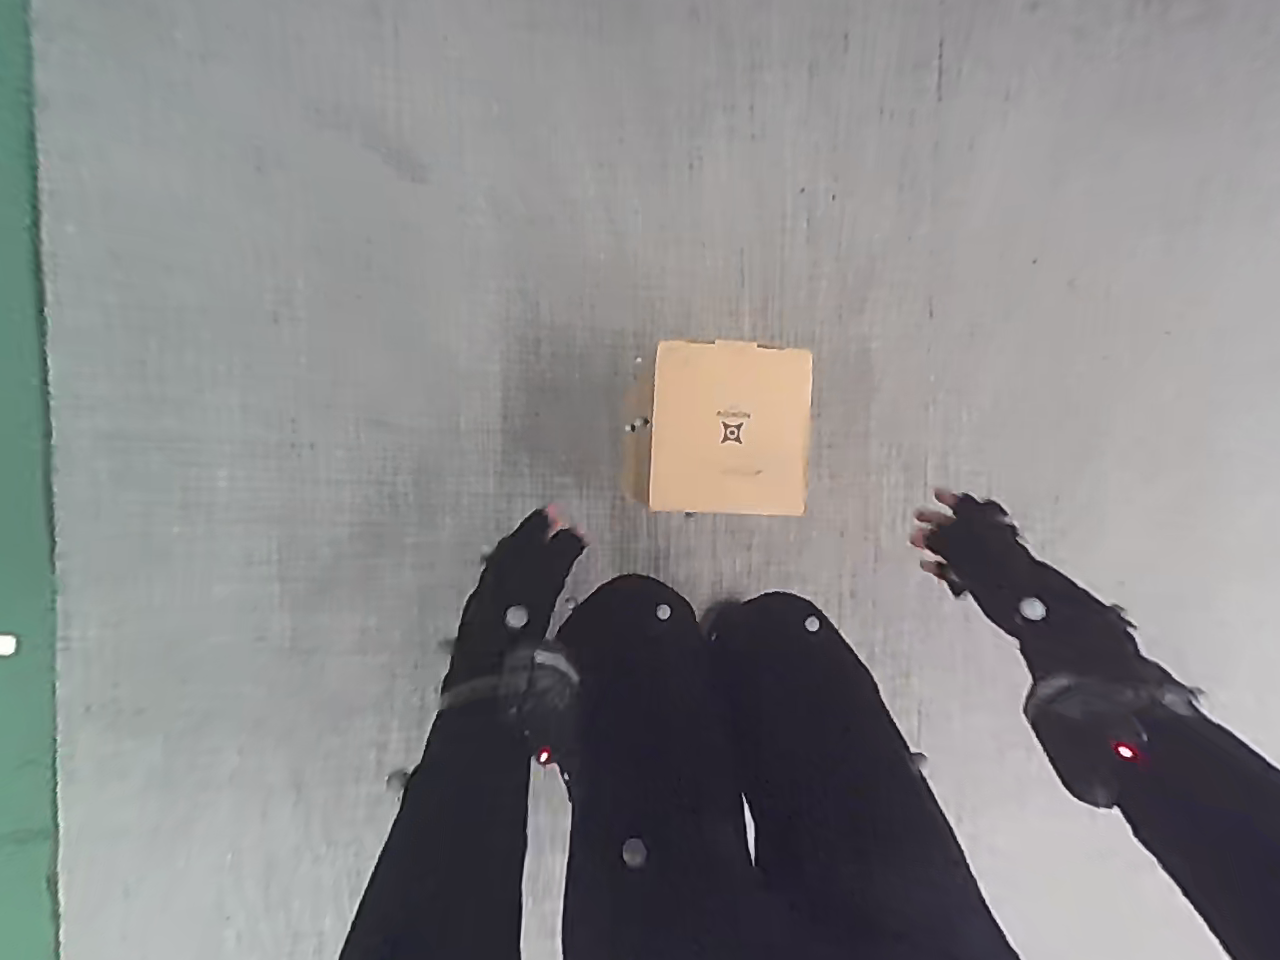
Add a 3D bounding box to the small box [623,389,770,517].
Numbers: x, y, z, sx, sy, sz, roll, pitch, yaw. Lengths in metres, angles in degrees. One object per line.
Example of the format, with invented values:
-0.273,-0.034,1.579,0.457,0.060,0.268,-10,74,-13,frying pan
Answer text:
0.075,-0.037,0.802,0.179,0.176,0.168,3,91,-8,small box
